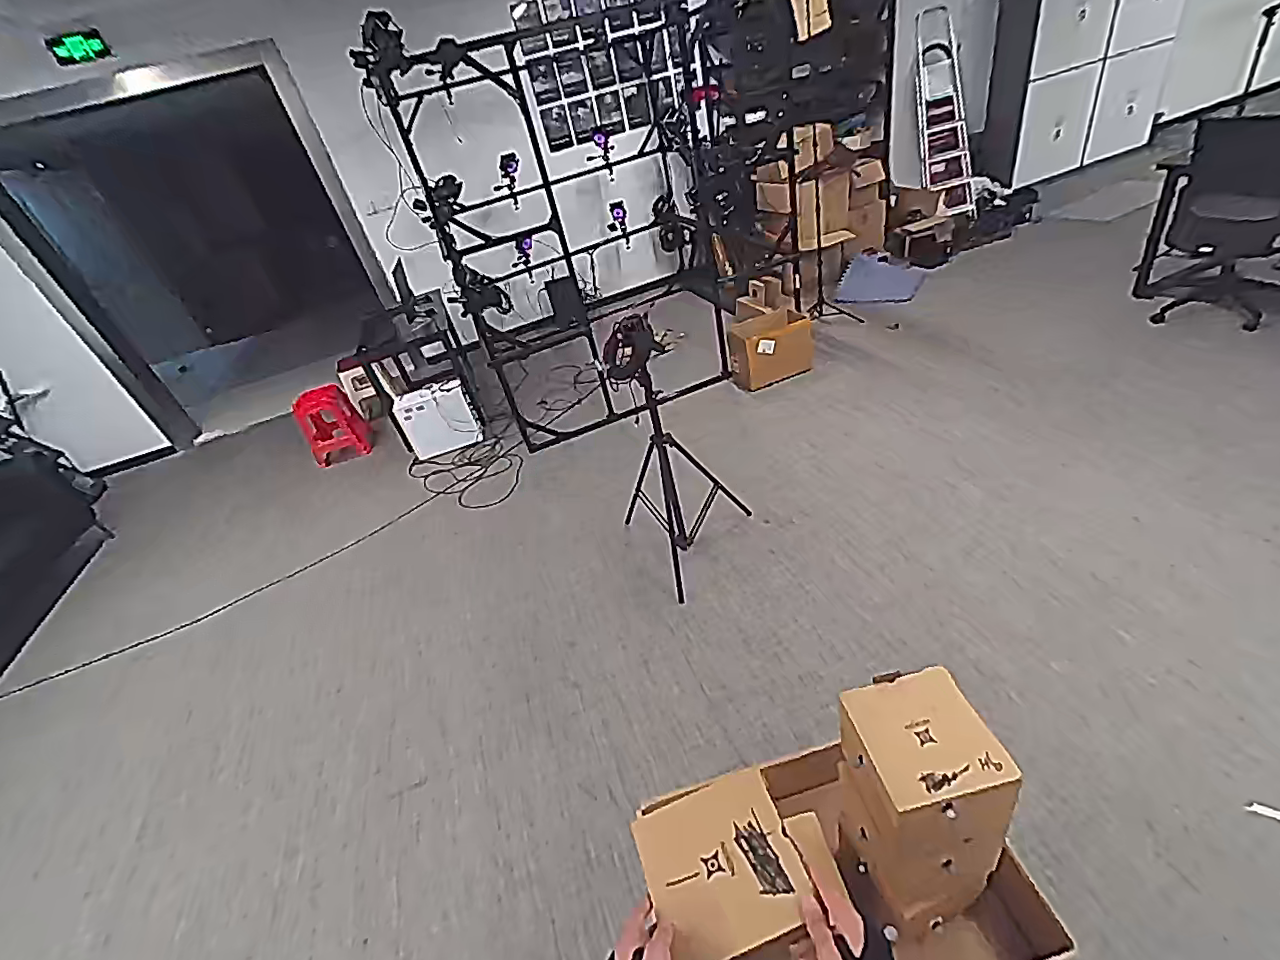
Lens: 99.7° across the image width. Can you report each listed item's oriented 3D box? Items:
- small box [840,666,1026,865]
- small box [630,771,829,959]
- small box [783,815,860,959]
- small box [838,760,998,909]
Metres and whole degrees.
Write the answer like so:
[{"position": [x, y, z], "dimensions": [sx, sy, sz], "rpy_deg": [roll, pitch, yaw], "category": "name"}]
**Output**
[{"position": [0.404, 0.406, 0.776], "dimensions": [0.168, 0.176, 0.179], "rpy_deg": [-16, 33, 2], "category": "small box"}, {"position": [0.108, 0.496, 0.649], "dimensions": [0.179, 0.176, 0.168], "rpy_deg": [-22, 35, -4], "category": "small box"}, {"position": [0.266, 0.734, 0.954], "dimensions": [0.179, 0.176, 0.168], "rpy_deg": [-16, 34, -1], "category": "small box"}, {"position": [0.442, 0.540, 0.864], "dimensions": [0.179, 0.176, 0.168], "rpy_deg": [-19, 34, -4], "category": "small box"}]
